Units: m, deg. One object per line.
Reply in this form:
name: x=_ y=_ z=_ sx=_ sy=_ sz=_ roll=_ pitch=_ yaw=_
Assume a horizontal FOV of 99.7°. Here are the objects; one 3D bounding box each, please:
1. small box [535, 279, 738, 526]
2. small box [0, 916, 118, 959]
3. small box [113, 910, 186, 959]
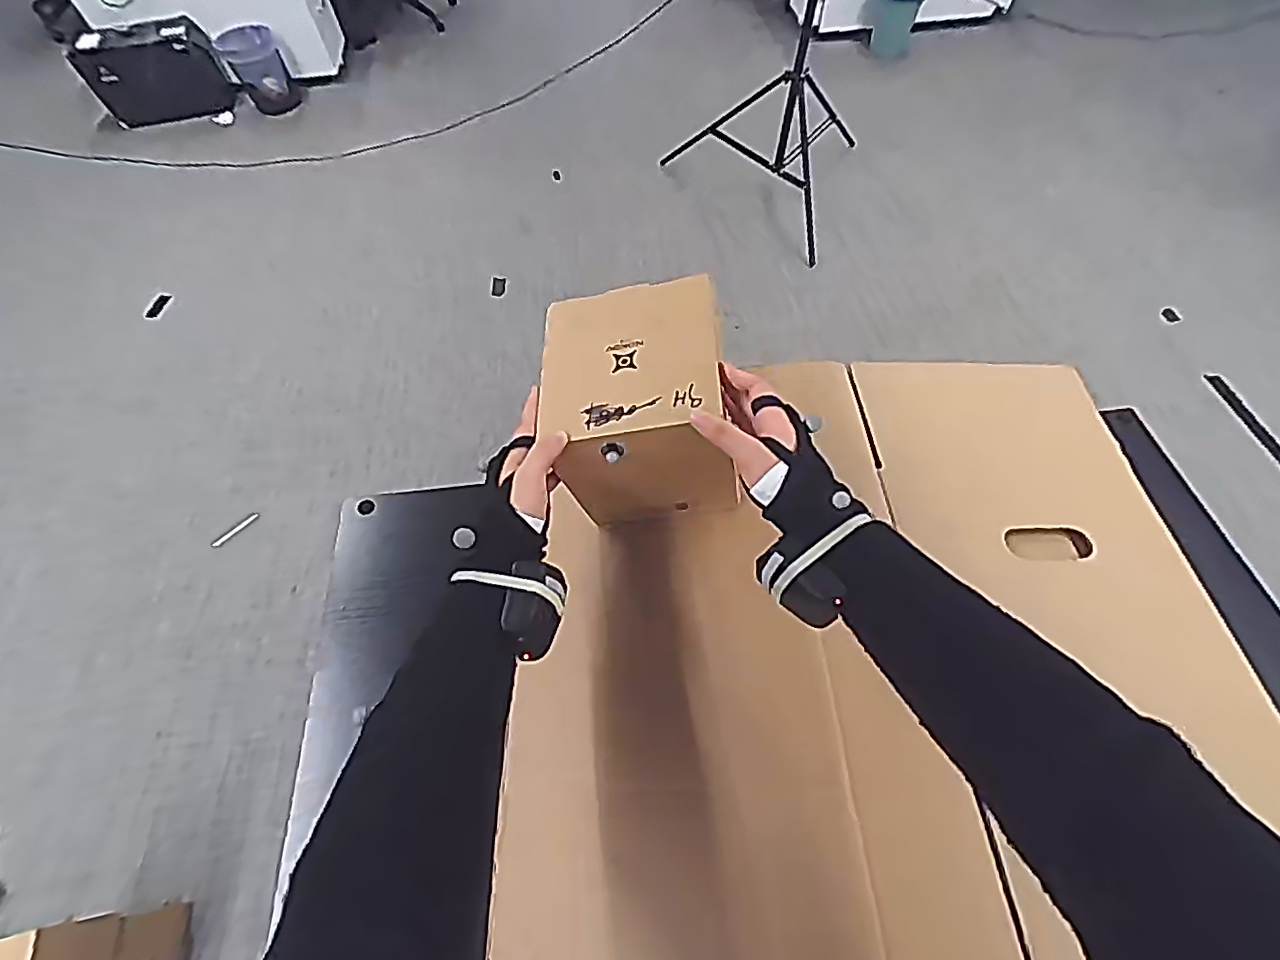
small box: x=0.007 y=-0.071 z=0.561 sx=0.168 sy=0.176 sz=0.179 roll=-8 pitch=58 yaw=12
small box: x=-1.015 y=0.851 z=0.879 sx=0.168 sy=0.176 sz=0.179 roll=-12 pitch=59 yaw=-7
small box: x=-1.010 y=0.938 z=1.016 sx=0.168 sy=0.176 sz=0.179 roll=-10 pitch=60 yaw=-5
